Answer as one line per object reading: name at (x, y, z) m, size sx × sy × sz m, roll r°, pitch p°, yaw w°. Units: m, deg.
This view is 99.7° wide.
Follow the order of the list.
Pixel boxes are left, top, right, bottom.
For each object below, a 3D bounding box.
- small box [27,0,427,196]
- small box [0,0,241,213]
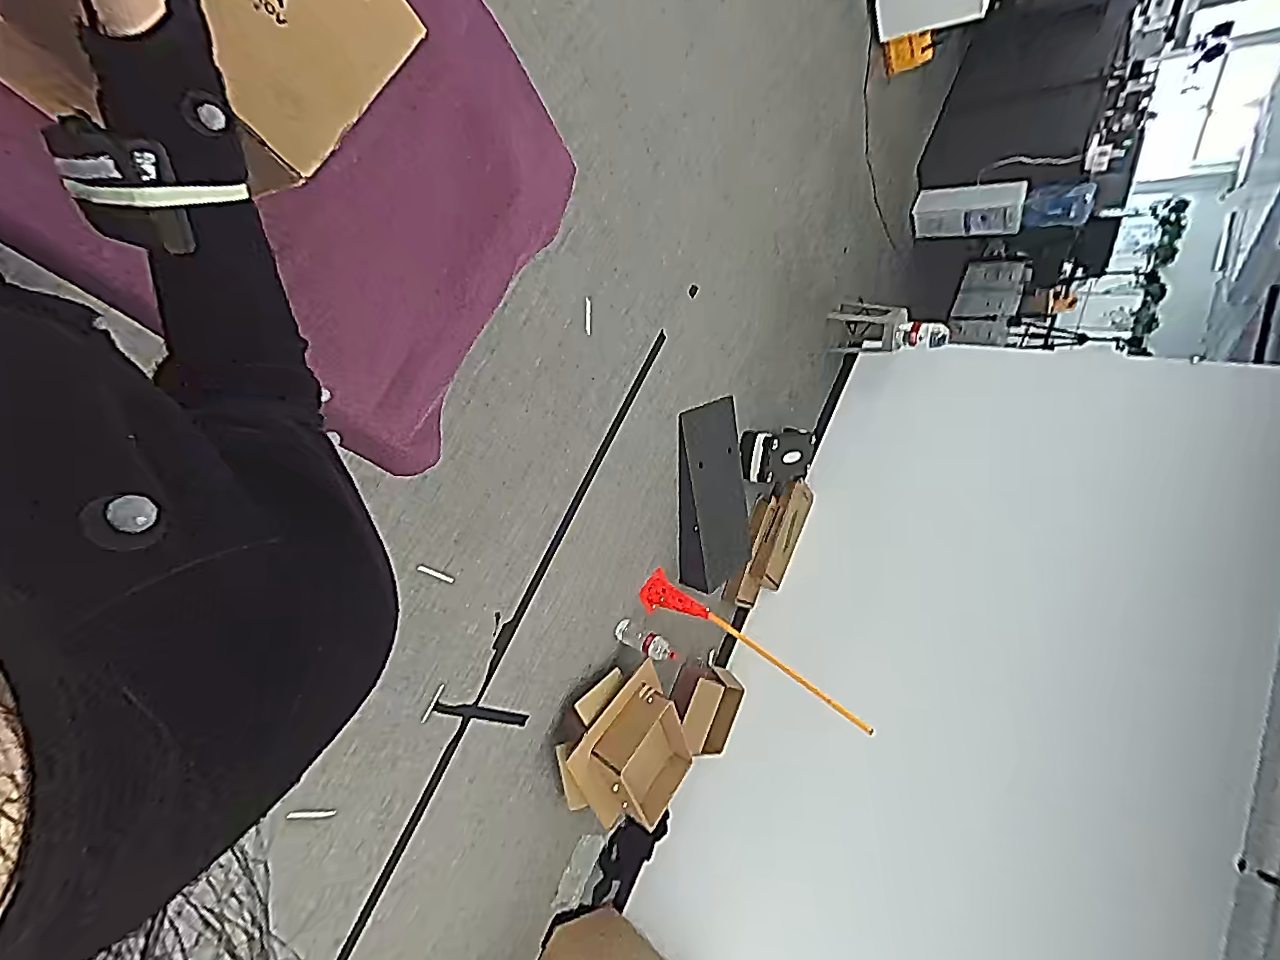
small box at (-0.311, -0.349, 0.416) m, size 0.168 × 0.176 × 0.179 m, roll 44°, pitch 68°, yaw -49°
small box at (-0.440, -0.382, 0.513) m, size 0.168 × 0.176 × 0.179 m, roll 43°, pitch 68°, yaw -49°
